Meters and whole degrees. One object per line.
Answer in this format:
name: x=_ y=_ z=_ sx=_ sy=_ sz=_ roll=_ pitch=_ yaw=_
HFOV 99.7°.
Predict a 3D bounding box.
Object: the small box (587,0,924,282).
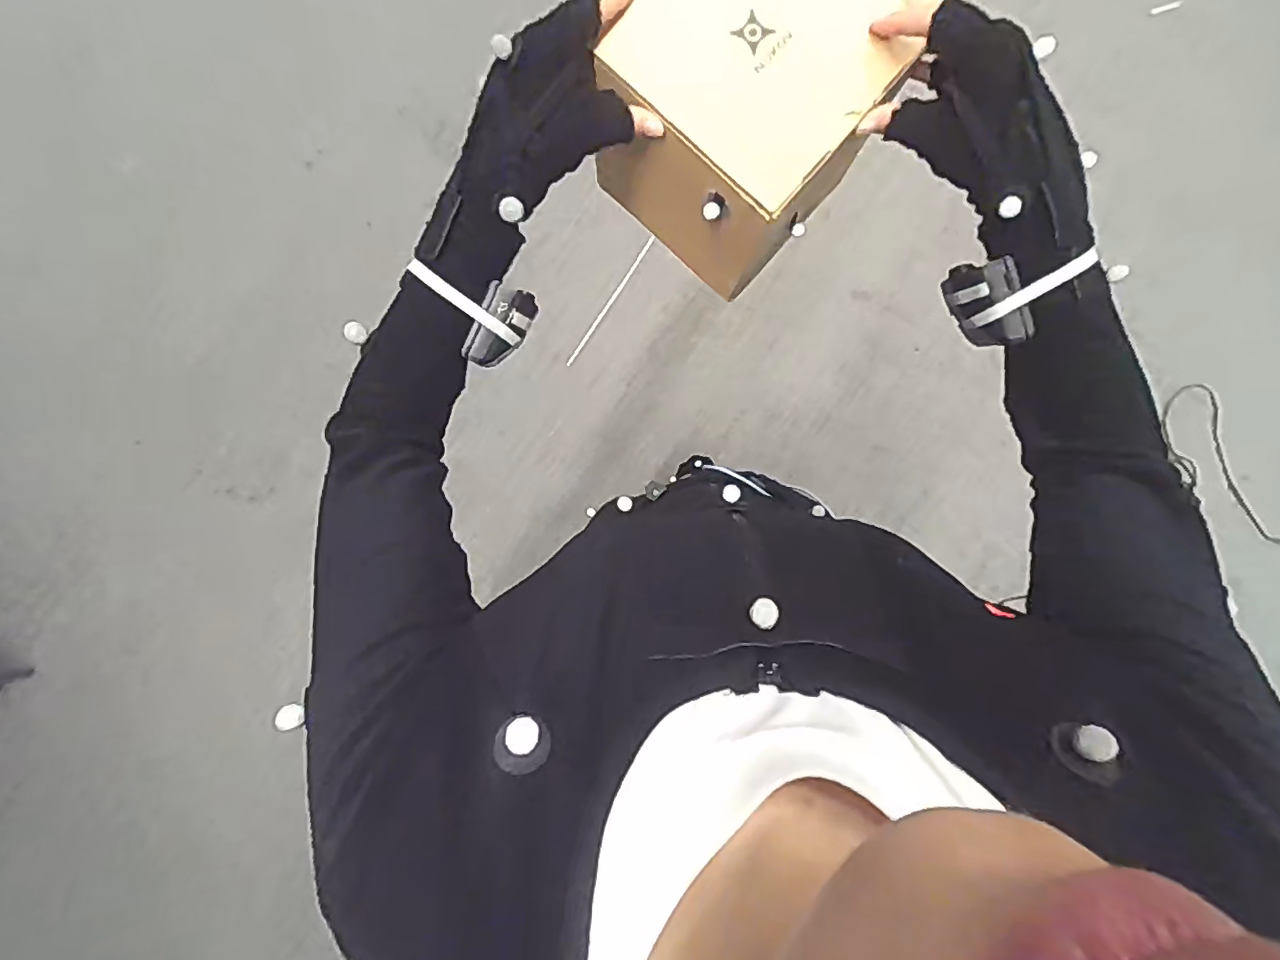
small box: x=0.075 y=-0.299 z=0.445 sx=0.179 sy=0.176 sz=0.168 roll=43 pitch=88 yaw=-3
